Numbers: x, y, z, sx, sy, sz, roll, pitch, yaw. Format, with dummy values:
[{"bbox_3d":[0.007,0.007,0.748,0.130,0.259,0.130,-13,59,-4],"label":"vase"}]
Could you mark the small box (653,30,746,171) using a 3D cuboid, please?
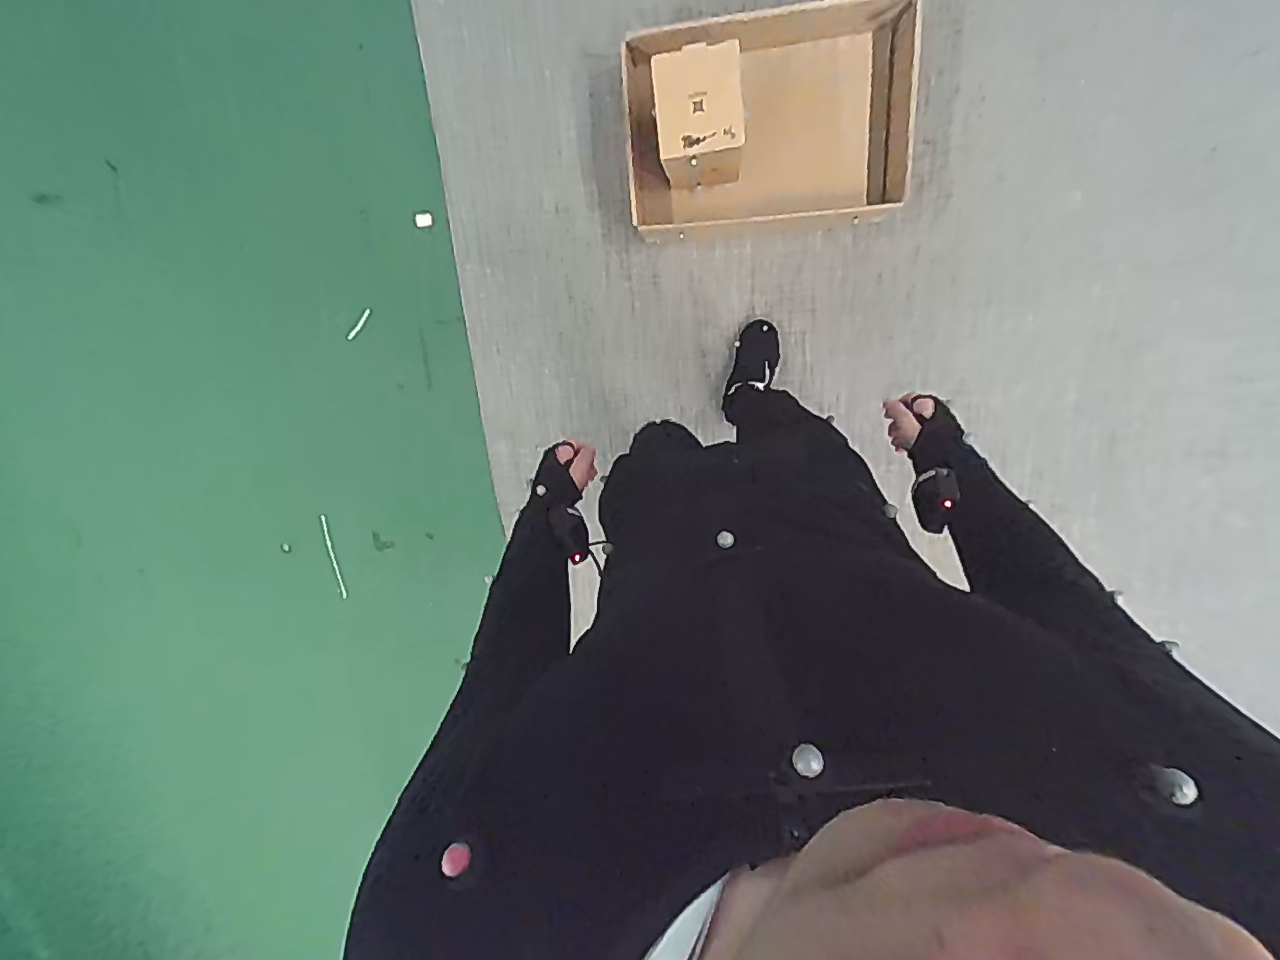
[{"bbox_3d":[0.121,-0.744,1.081,0.168,0.176,0.179,-4,107,10],"label":"small box"}]
